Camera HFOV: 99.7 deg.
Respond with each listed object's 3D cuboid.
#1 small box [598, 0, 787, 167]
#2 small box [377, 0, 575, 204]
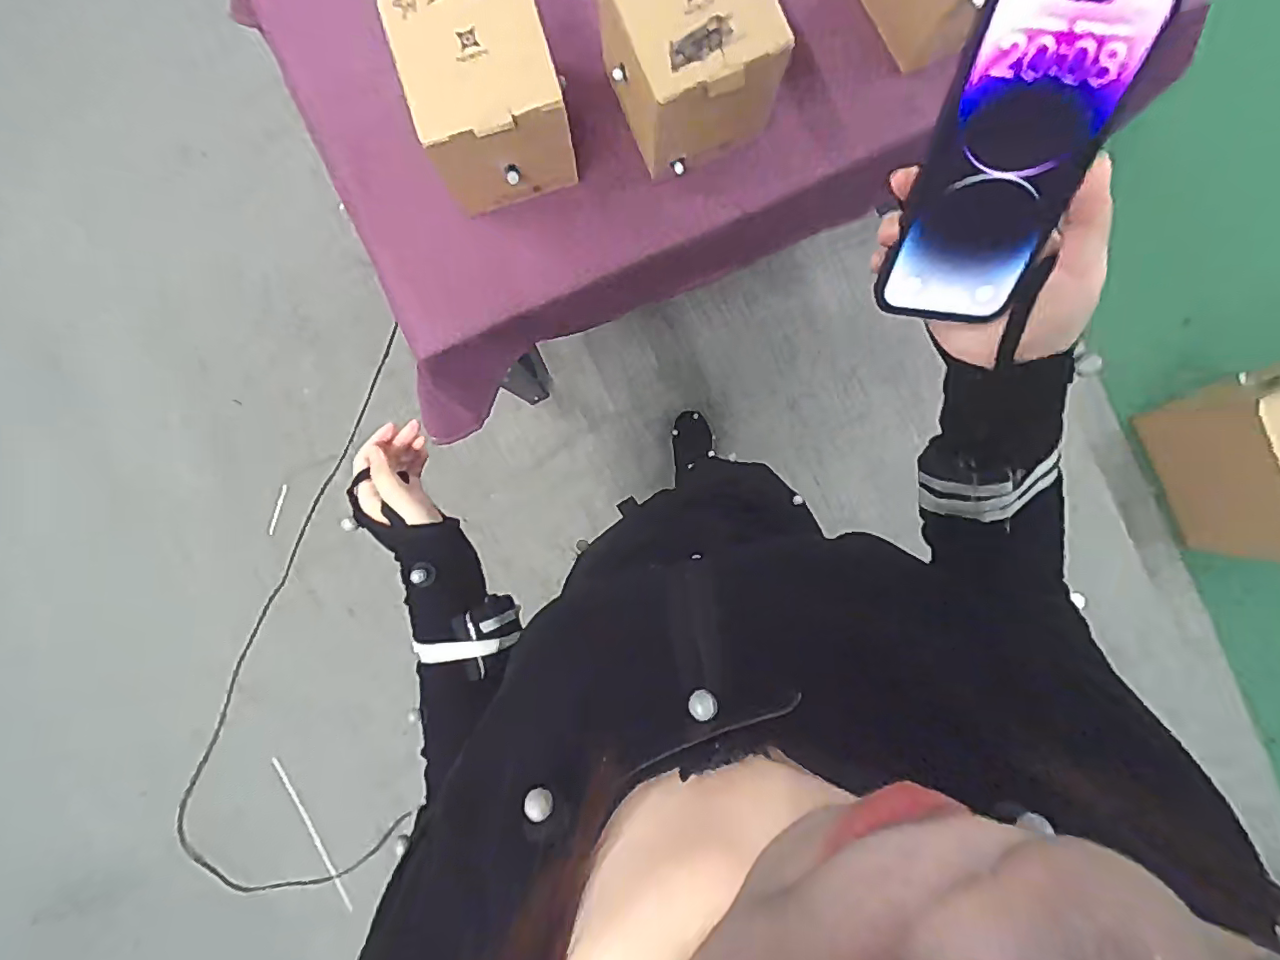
[{"bbox_3d":[0.057,-0.524,0.666,0.168,0.176,0.179,-22,90,0],"label":"small box"},{"bbox_3d":[-0.186,-0.471,0.669,0.168,0.176,0.179,-17,92,0],"label":"small box"}]
